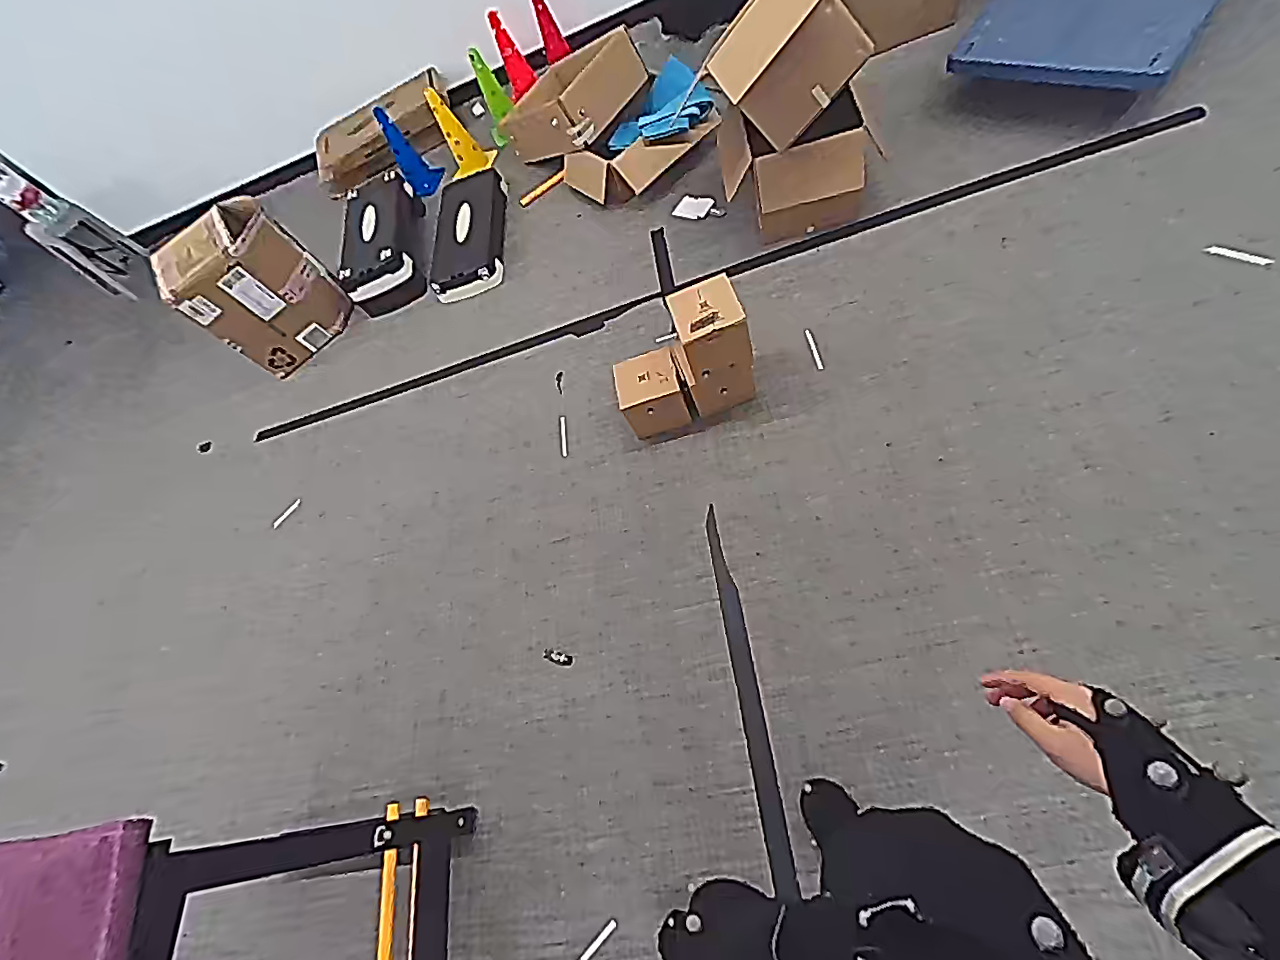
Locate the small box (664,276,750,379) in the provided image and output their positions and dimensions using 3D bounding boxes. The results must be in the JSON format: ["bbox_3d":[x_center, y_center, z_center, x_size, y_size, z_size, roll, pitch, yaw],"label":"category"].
[{"bbox_3d":[0.178,-0.387,1.410,0.168,0.176,0.179,-19,59,8],"label":"small box"}]
